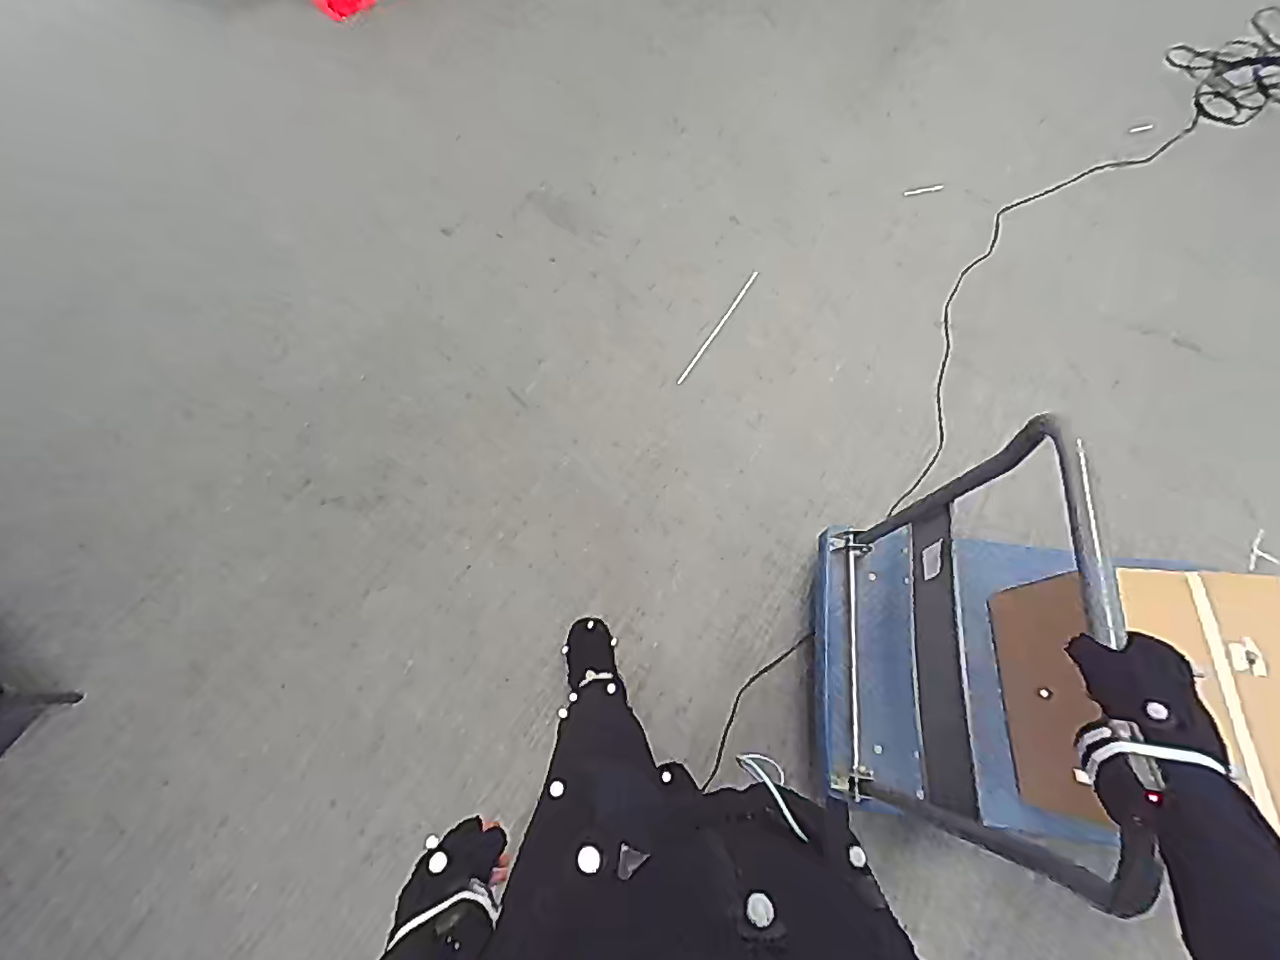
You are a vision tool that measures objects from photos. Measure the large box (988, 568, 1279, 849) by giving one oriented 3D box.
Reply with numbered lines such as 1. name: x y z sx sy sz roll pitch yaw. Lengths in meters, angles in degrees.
1. large box: 0.899 0.394 0.973 0.320 0.320 0.408 3 68 1
